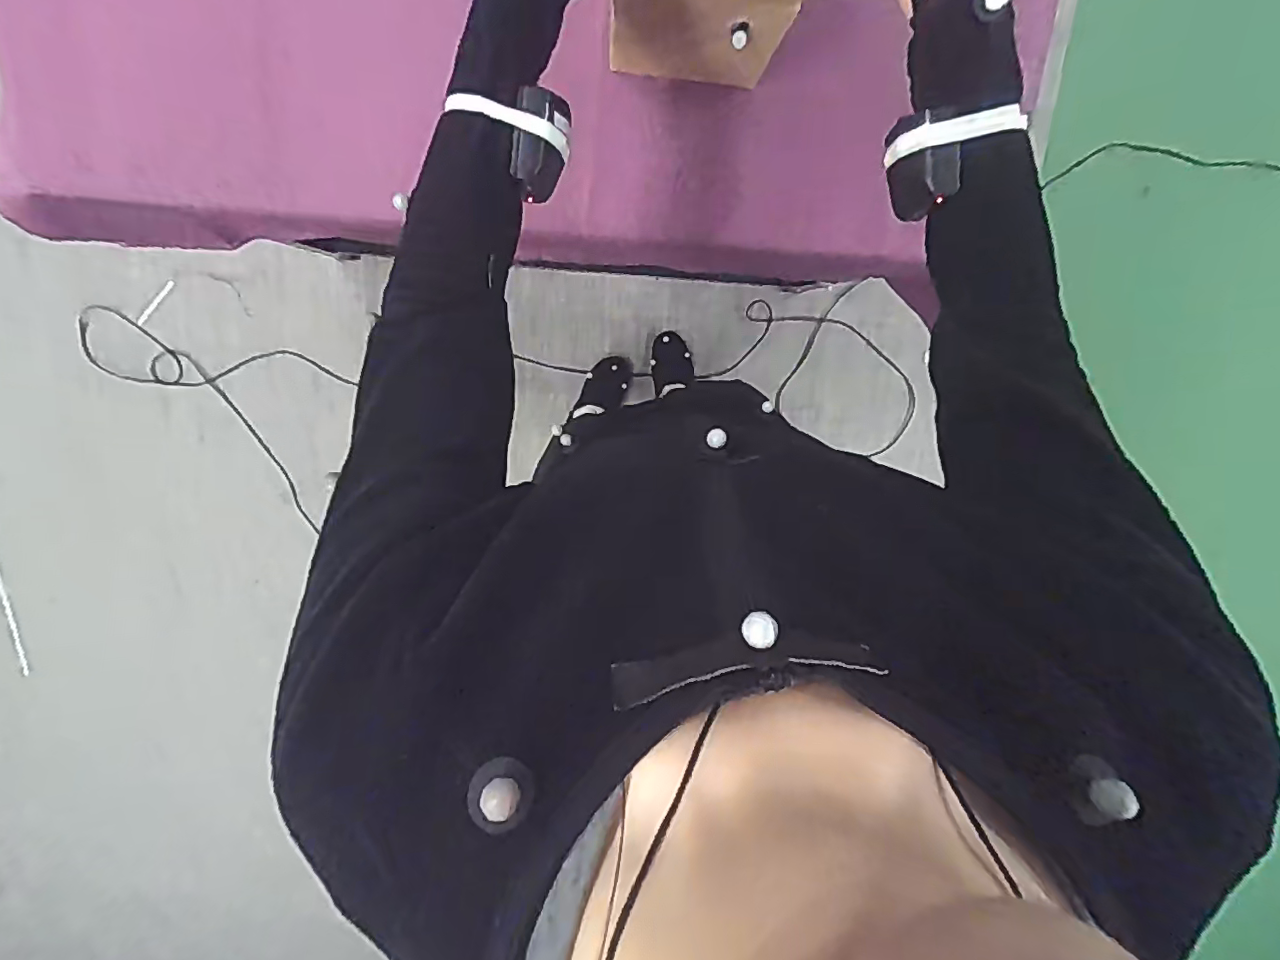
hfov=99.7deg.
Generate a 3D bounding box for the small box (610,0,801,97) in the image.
[{"bbox_3d":[0.063,-0.525,0.554,0.179,0.176,0.168,4,104,-4],"label":"small box"}]

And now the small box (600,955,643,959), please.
[{"bbox_3d":[-0.066,1.833,1.907,0.168,0.176,0.179,2,103,-4],"label":"small box"}]
